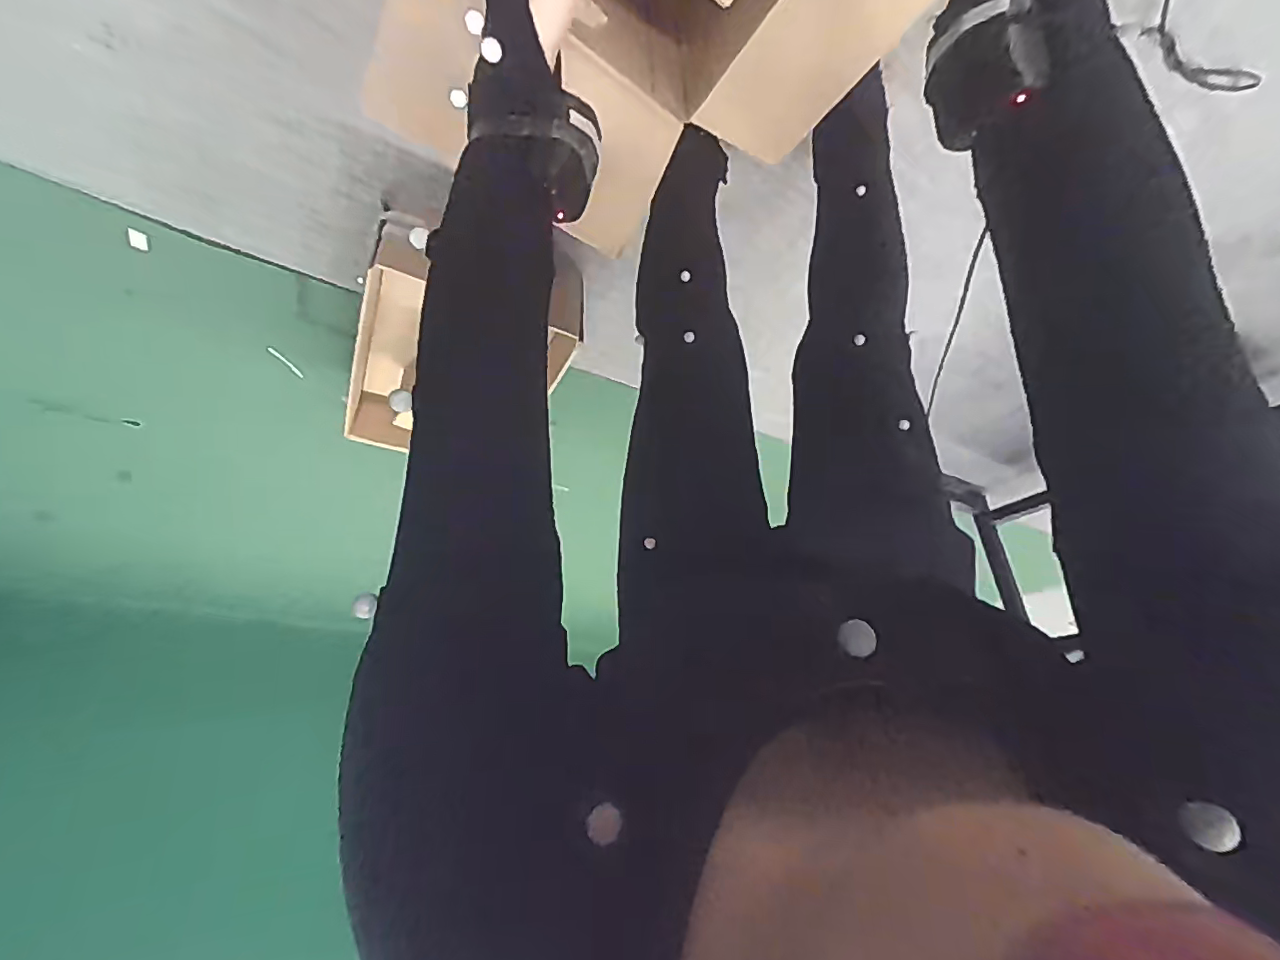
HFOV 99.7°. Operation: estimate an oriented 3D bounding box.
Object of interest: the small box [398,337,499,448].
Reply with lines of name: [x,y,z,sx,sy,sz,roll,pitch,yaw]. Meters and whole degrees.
small box: [-0.454,-0.209,1.298,0.168,0.176,0.179,23,142,-36]
